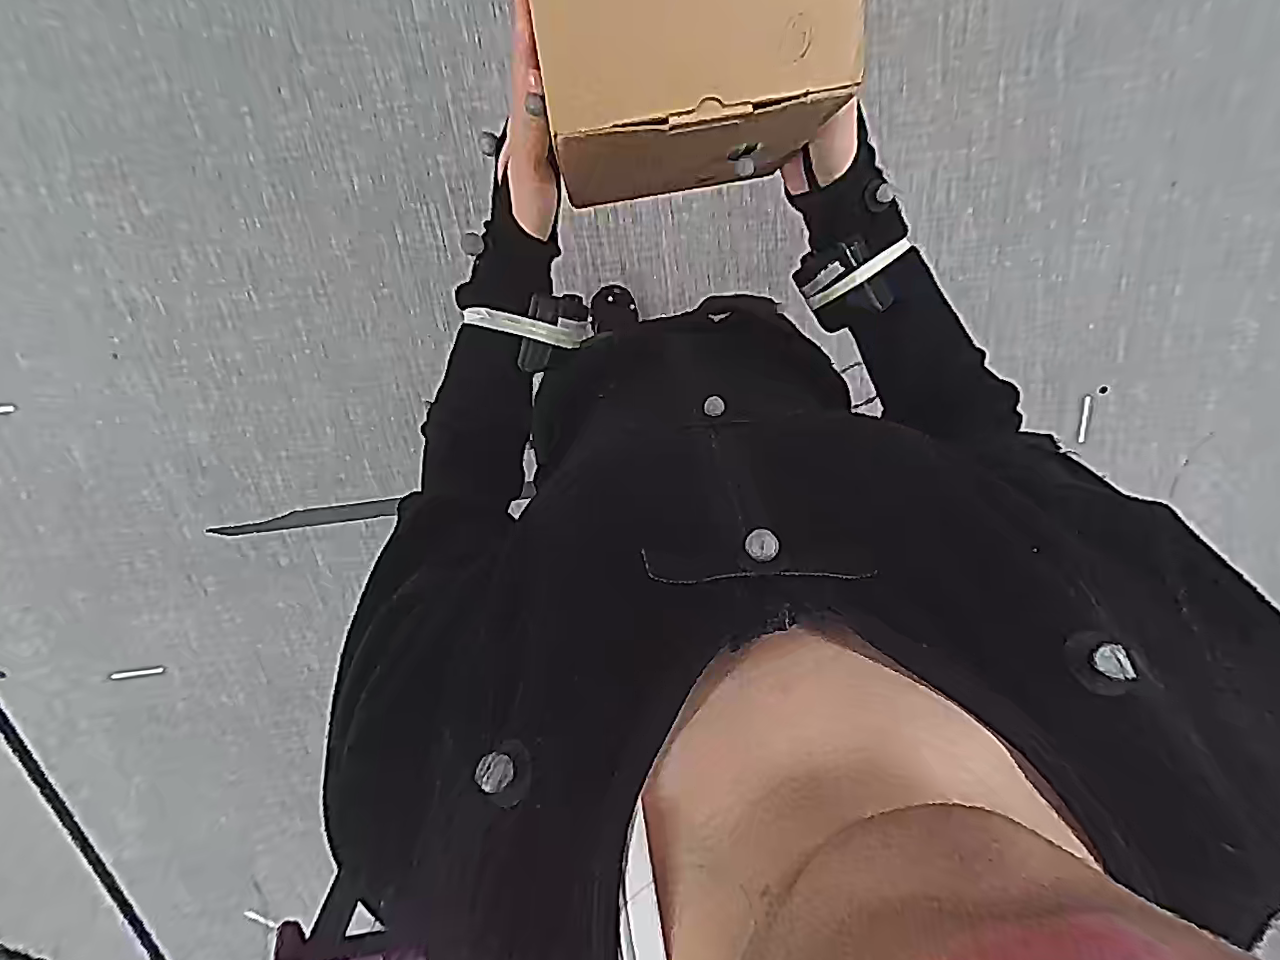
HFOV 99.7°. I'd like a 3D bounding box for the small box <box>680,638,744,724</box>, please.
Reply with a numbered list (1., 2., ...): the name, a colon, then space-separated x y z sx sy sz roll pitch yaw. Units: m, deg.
1. small box: 0.218 0.612 1.657 0.168 0.176 0.179 -6 110 -2
